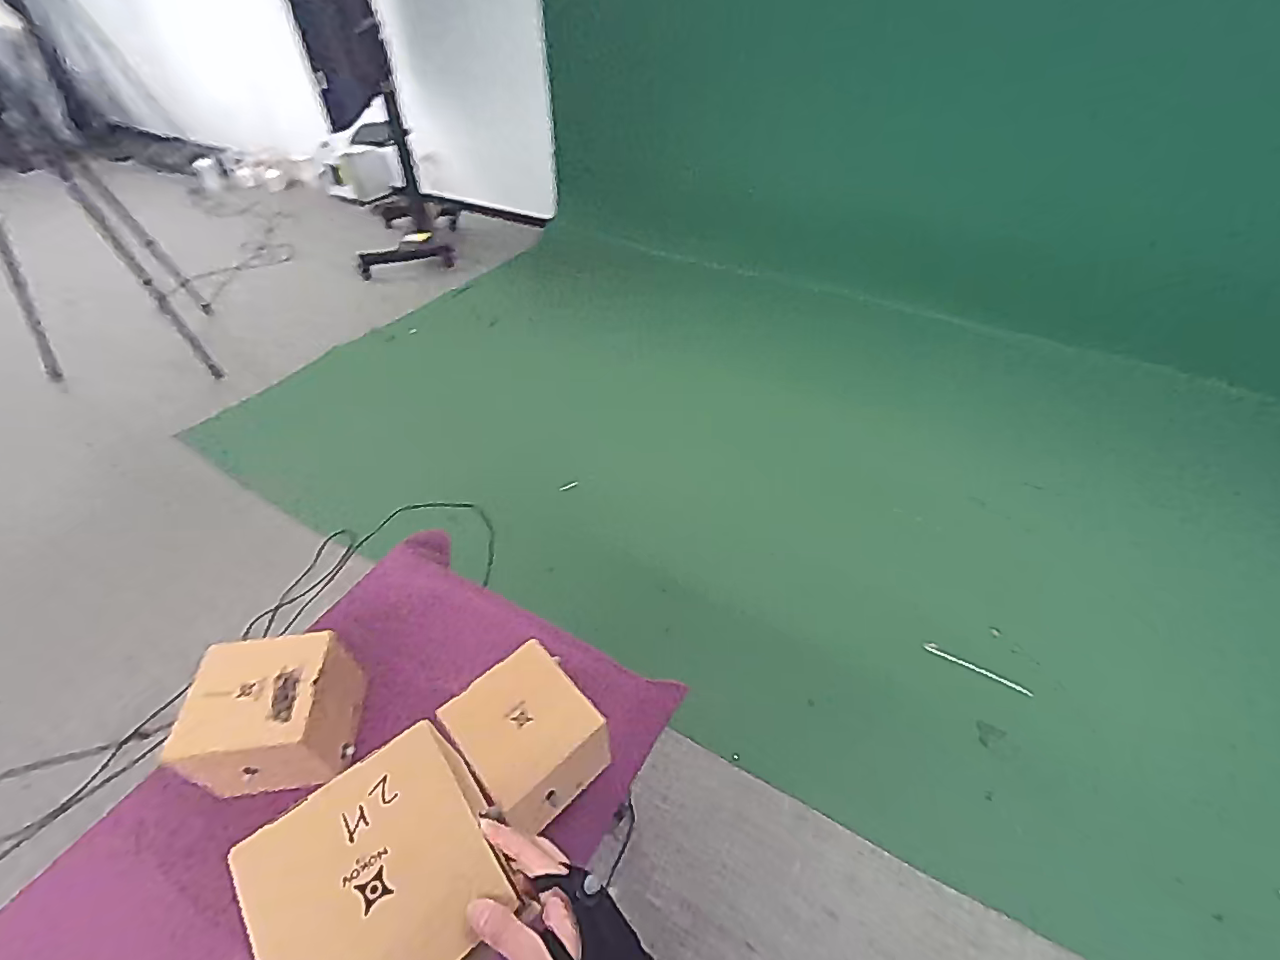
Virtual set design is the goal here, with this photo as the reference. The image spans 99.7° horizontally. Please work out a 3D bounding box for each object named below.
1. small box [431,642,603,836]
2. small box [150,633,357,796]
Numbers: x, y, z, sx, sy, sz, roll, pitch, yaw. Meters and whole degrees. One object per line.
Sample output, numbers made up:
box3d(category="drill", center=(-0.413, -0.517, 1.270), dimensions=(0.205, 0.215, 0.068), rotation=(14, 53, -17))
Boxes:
box3d(category="small box", center=(-0.169, 0.381, 0.789), dimensions=(0.168, 0.176, 0.179), rotation=(-34, 52, -29))
box3d(category="small box", center=(-0.551, 0.351, 0.808), dimensions=(0.179, 0.176, 0.168), rotation=(-5, 45, -7))
